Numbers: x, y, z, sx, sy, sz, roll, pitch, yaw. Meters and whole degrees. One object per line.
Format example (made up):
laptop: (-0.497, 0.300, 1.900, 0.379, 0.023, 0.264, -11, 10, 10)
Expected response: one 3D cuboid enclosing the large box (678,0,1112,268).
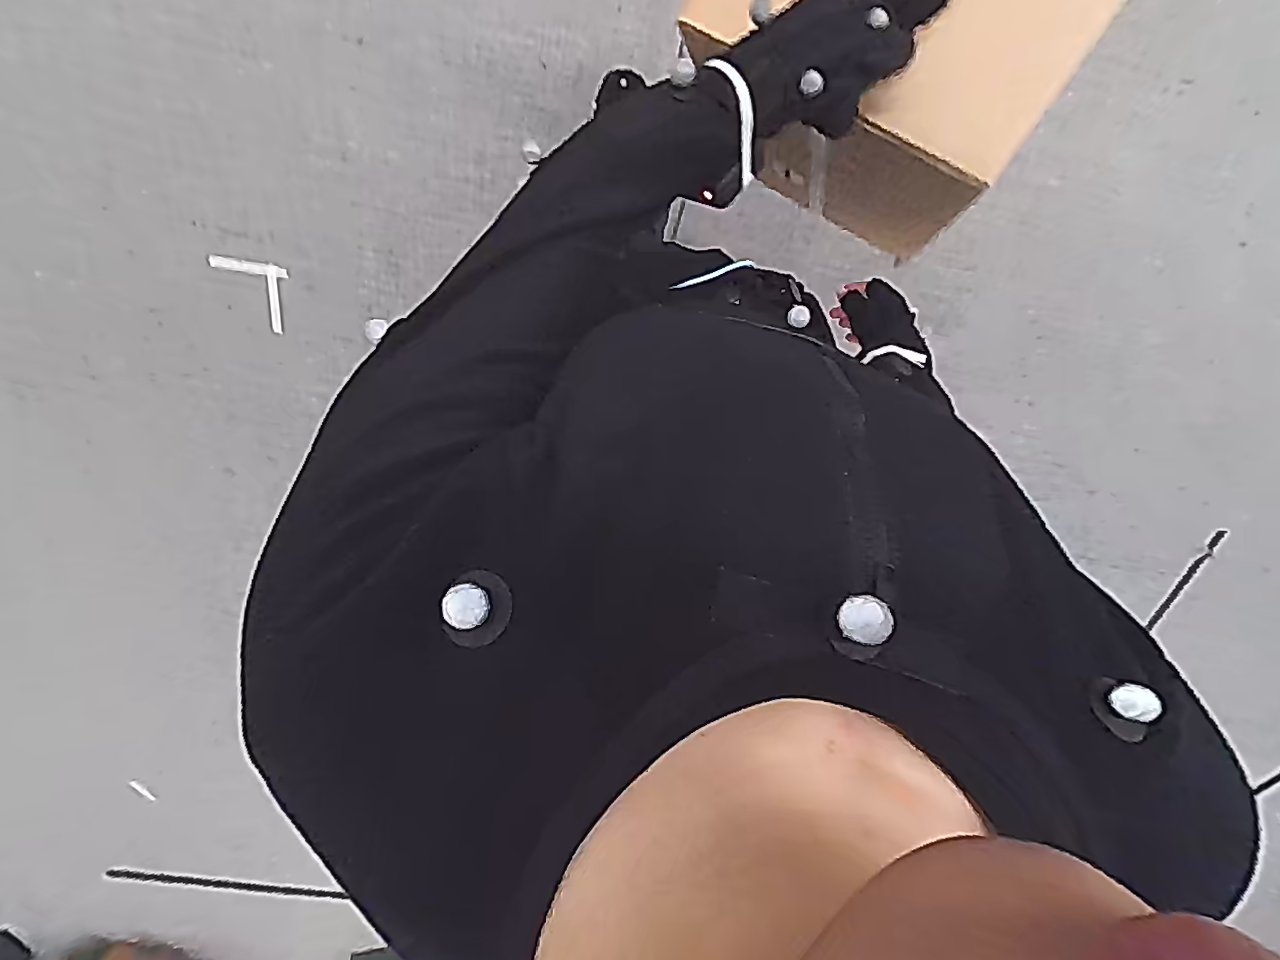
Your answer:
large box: (0.292, -0.485, 0.602, 0.320, 0.408, 0.320, 37, 111, 7)
